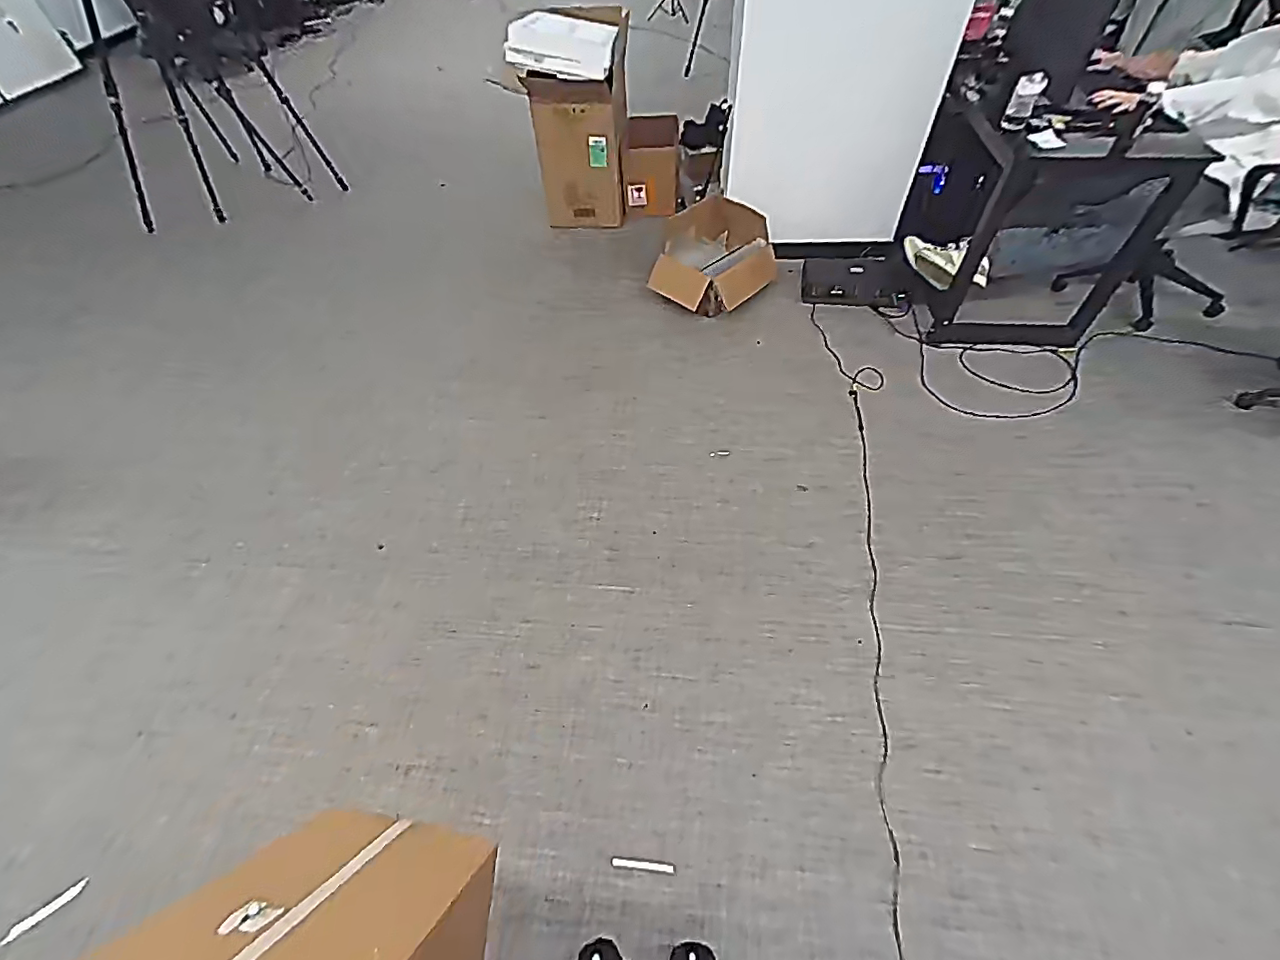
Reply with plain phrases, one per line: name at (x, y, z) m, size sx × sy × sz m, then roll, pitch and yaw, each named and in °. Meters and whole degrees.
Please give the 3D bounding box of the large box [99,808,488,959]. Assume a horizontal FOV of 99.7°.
large box at (-0.434, 0.698, 0.690) m, size 0.320 × 0.408 × 0.320 m, roll 4°, pitch 84°, yaw 9°
